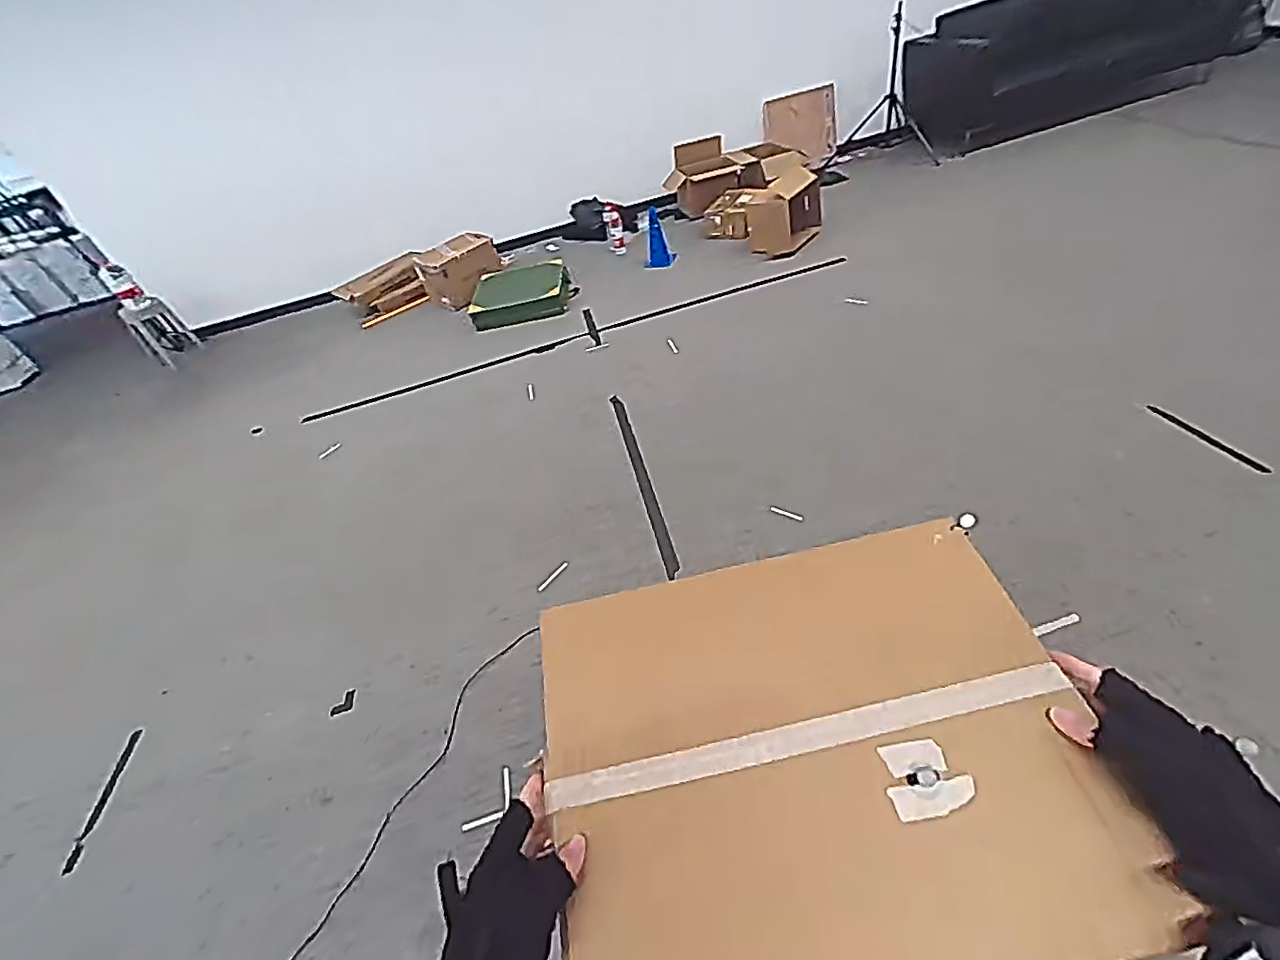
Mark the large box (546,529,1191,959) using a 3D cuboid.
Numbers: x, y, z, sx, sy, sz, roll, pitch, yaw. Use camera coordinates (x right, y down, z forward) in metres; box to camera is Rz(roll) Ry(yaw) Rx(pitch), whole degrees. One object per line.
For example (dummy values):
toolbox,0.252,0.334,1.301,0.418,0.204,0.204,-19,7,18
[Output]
large box,0.148,0.301,0.544,0.408,0.320,0.320,-13,50,-1
